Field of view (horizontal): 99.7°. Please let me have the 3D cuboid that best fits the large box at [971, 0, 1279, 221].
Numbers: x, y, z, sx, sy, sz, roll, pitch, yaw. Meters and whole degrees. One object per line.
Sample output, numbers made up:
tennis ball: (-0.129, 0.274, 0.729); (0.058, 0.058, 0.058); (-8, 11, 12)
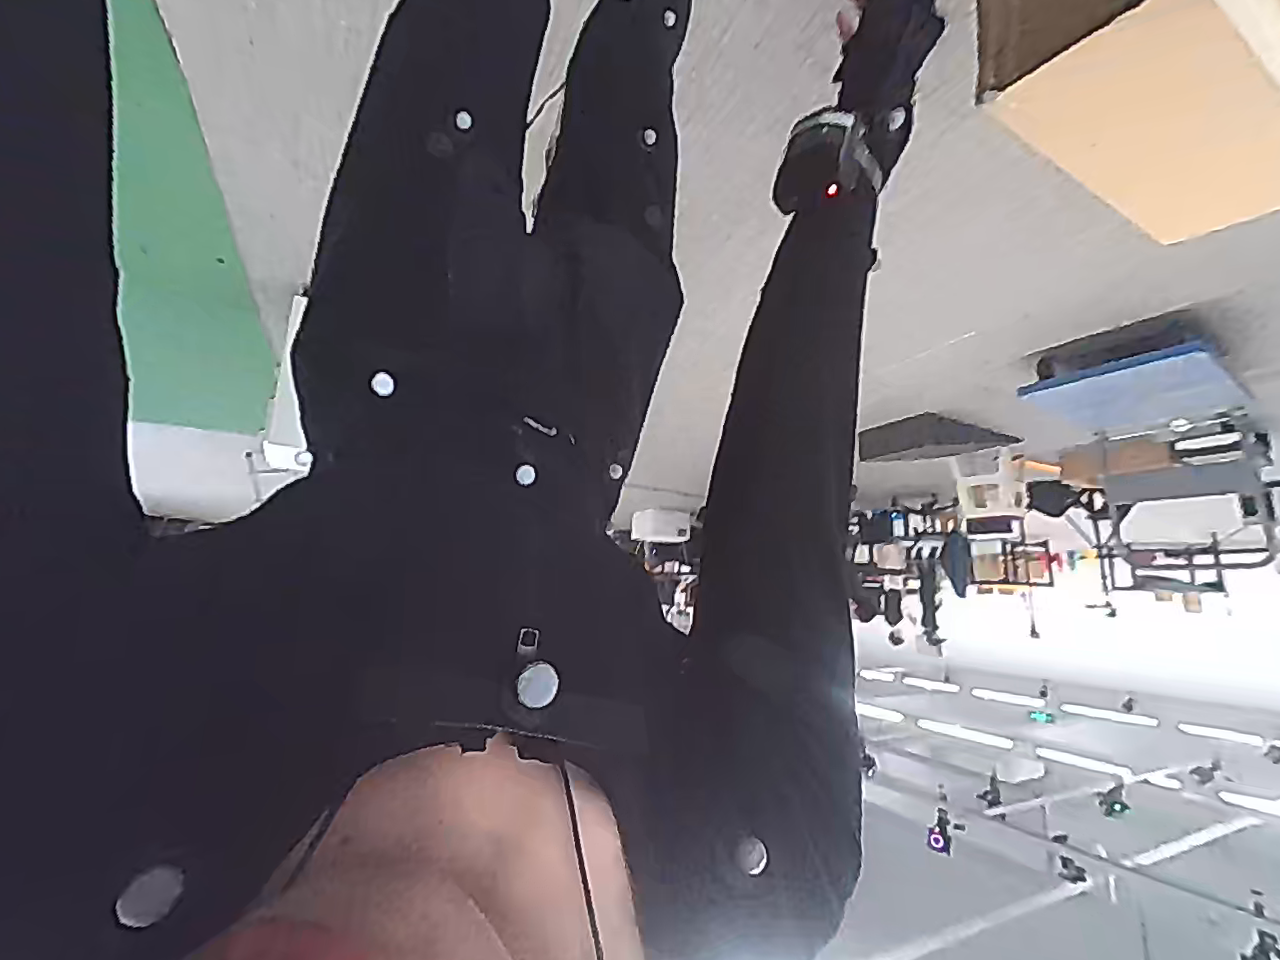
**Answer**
large box: (0.555, -0.498, 0.458); (0.408, 0.320, 0.320); (9, 171, -27)
